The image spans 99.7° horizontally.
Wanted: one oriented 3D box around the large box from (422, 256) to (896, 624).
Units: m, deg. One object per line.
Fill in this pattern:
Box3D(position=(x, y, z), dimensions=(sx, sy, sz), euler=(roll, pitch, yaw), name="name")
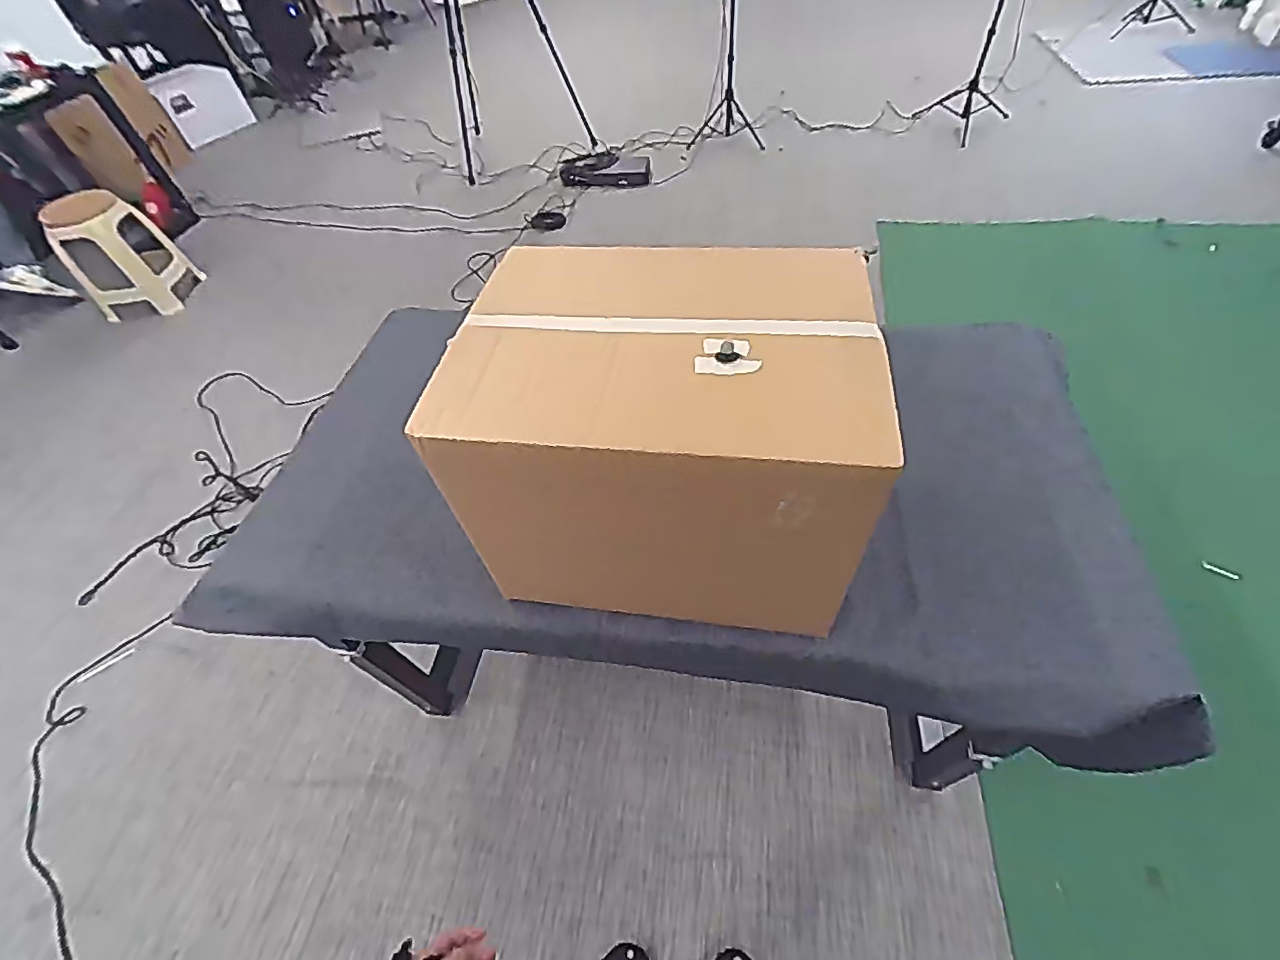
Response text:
Box3D(position=(0.032, -0.049, 0.649), dimensions=(0.408, 0.320, 0.320), euler=(4, 52, 8), name="large box")
